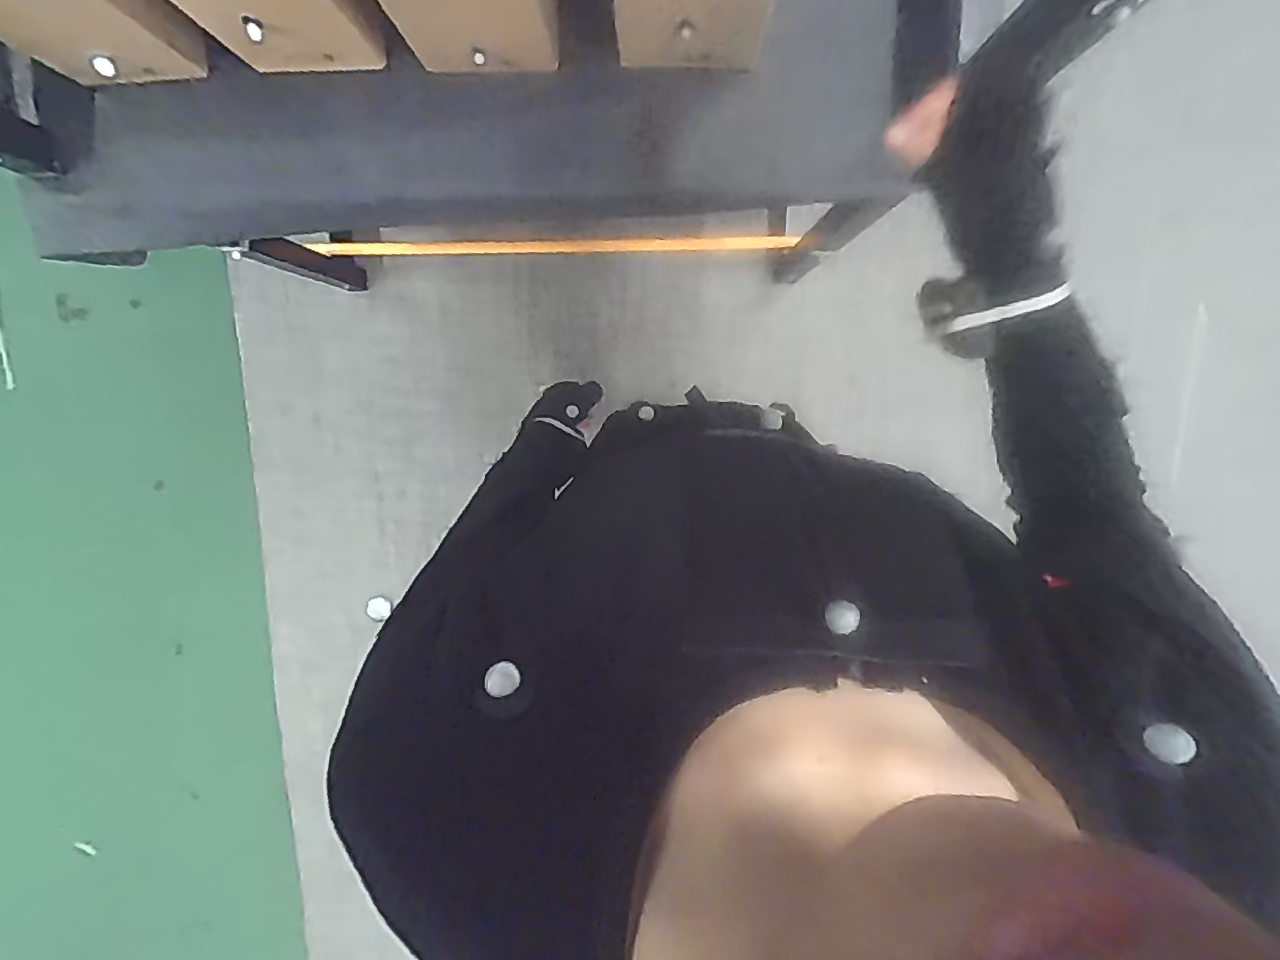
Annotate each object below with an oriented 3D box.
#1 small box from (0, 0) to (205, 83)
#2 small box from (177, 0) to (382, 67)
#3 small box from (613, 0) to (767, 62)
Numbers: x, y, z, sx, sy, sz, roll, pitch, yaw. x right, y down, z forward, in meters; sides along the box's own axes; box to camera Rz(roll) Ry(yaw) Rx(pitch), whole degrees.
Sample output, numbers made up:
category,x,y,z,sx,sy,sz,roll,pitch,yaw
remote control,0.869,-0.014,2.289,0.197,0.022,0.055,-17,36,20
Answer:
category,x,y,z,sx,sy,sz,roll,pitch,yaw
small box,-0.625,-0.576,0.586,0.168,0.176,0.179,-3,99,2
small box,-0.399,-0.583,0.582,0.168,0.176,0.179,0,98,1
small box,0.057,-0.579,0.566,0.168,0.176,0.179,2,98,1
